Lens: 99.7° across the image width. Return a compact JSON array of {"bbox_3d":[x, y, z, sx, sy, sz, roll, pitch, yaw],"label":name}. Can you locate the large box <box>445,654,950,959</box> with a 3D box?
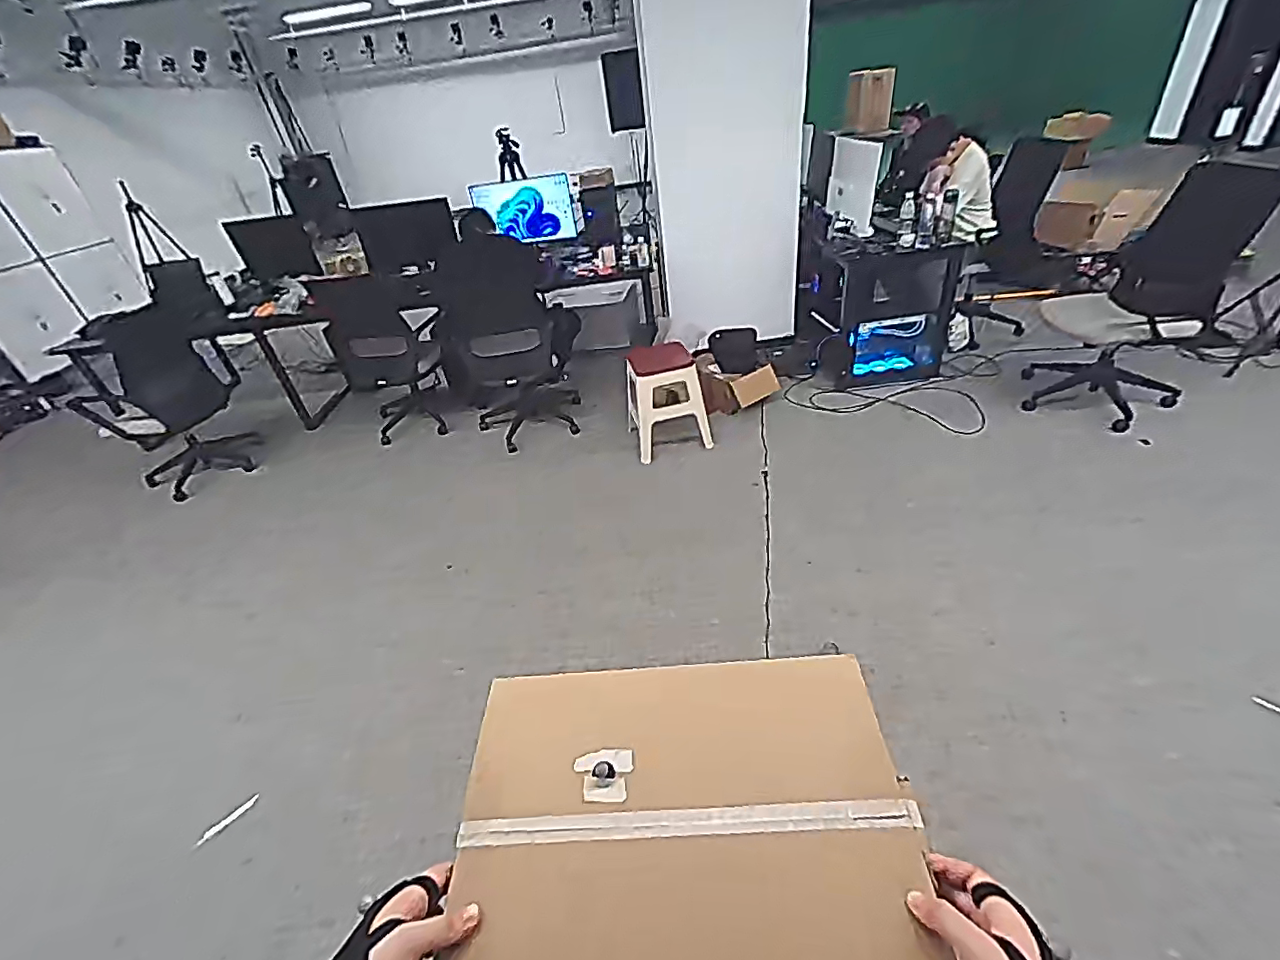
[{"bbox_3d":[0.058,0.426,0.589,0.408,0.320,0.320,-8,39,6],"label":"large box"}]
